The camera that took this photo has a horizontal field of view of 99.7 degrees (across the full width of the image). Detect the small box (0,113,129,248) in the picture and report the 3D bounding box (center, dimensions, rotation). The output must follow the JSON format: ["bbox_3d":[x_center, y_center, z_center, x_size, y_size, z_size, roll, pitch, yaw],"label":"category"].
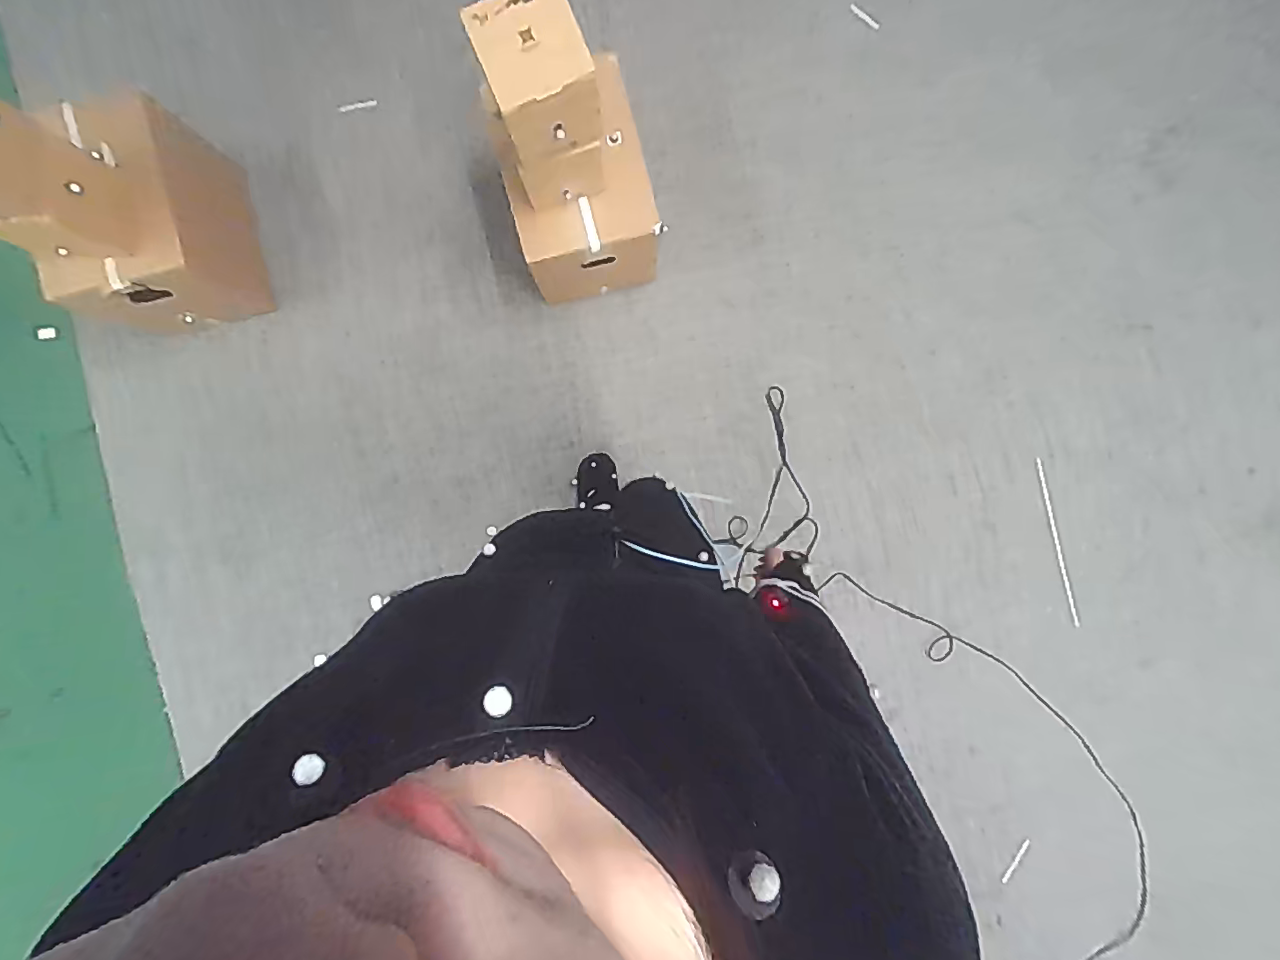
[{"bbox_3d":[-1.163,-0.578,1.060,0.168,0.176,0.179,-3,92,-1],"label":"small box"}]

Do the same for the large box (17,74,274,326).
[{"bbox_3d":[-1.173,-0.637,1.301,0.320,0.320,0.408,-14,91,-1],"label":"large box"}]

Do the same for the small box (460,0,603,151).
[{"bbox_3d":[-0.170,-0.696,0.913,0.168,0.176,0.179,-22,93,1],"label":"small box"}]
